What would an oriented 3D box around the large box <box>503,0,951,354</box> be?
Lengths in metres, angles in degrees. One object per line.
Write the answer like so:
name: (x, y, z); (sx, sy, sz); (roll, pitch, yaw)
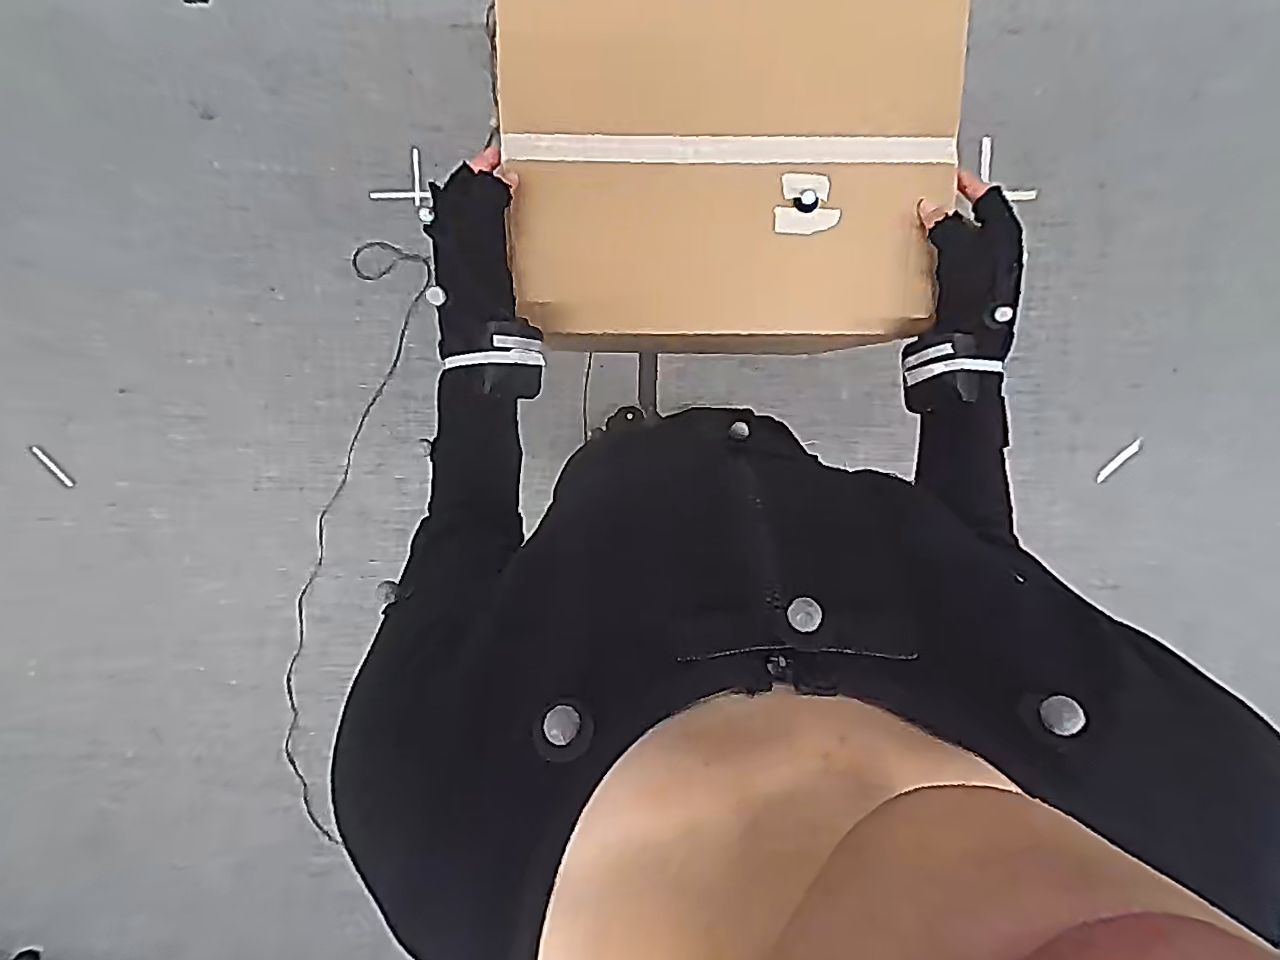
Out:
large box: (0.074, -0.322, 0.640); (0.408, 0.320, 0.320); (0, 100, -2)
